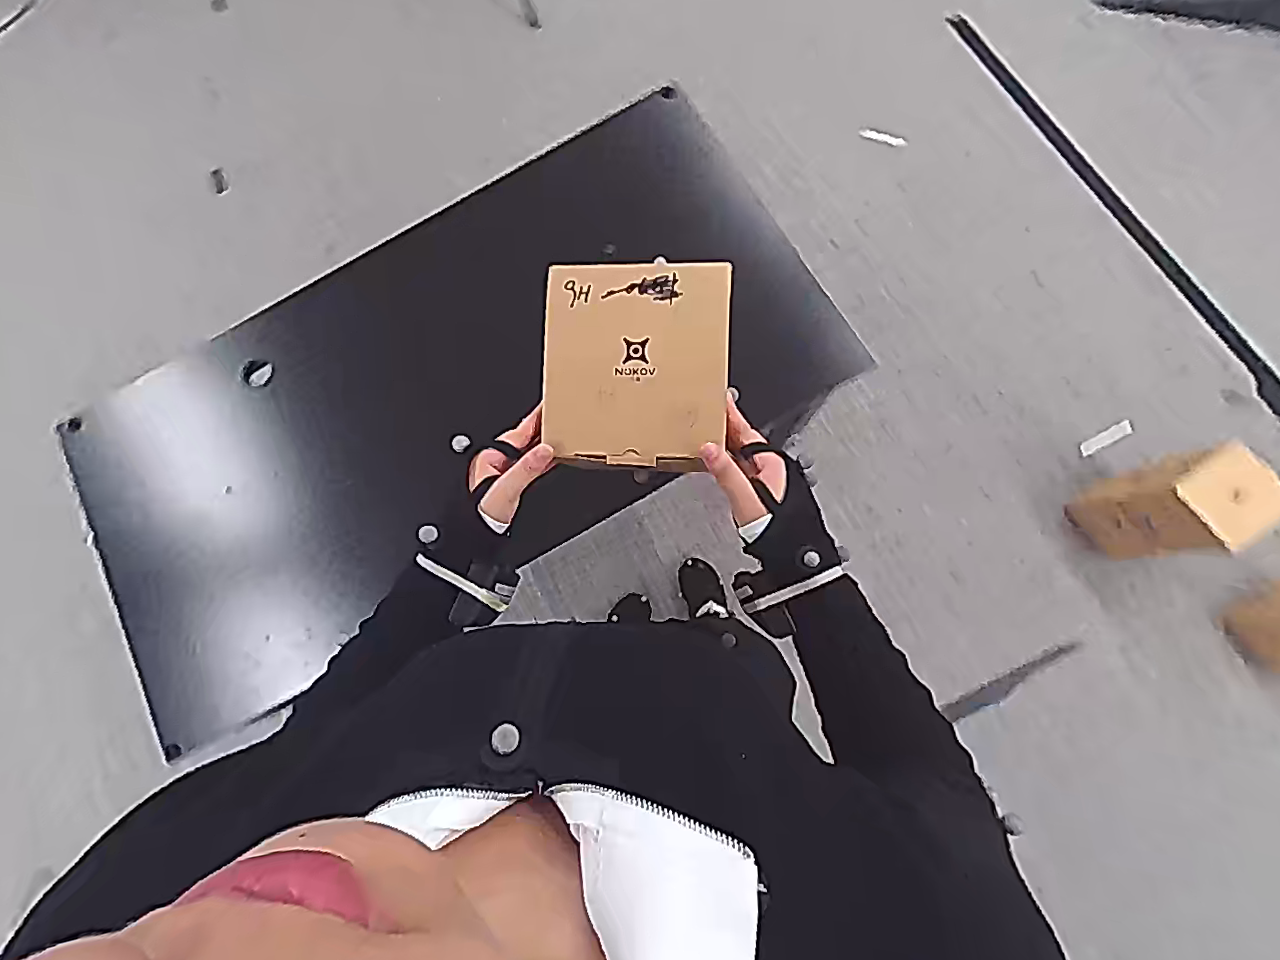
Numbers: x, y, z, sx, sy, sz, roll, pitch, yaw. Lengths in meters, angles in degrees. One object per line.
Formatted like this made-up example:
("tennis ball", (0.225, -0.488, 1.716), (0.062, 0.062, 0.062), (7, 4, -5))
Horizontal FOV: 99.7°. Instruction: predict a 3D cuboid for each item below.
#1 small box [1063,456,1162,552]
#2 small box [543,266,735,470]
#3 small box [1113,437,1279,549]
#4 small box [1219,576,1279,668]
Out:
("small box", (1.220, 0.069, 1.346), (0.168, 0.176, 0.179), (-33, 80, -1))
("small box", (0.008, -0.102, 0.556), (0.168, 0.176, 0.179), (3, 89, 7))
("small box", (1.215, 0.035, 1.187), (0.179, 0.176, 0.168), (-36, 78, 0))
("small box", (1.562, 0.339, 1.272), (0.168, 0.176, 0.179), (-36, 79, -2))
